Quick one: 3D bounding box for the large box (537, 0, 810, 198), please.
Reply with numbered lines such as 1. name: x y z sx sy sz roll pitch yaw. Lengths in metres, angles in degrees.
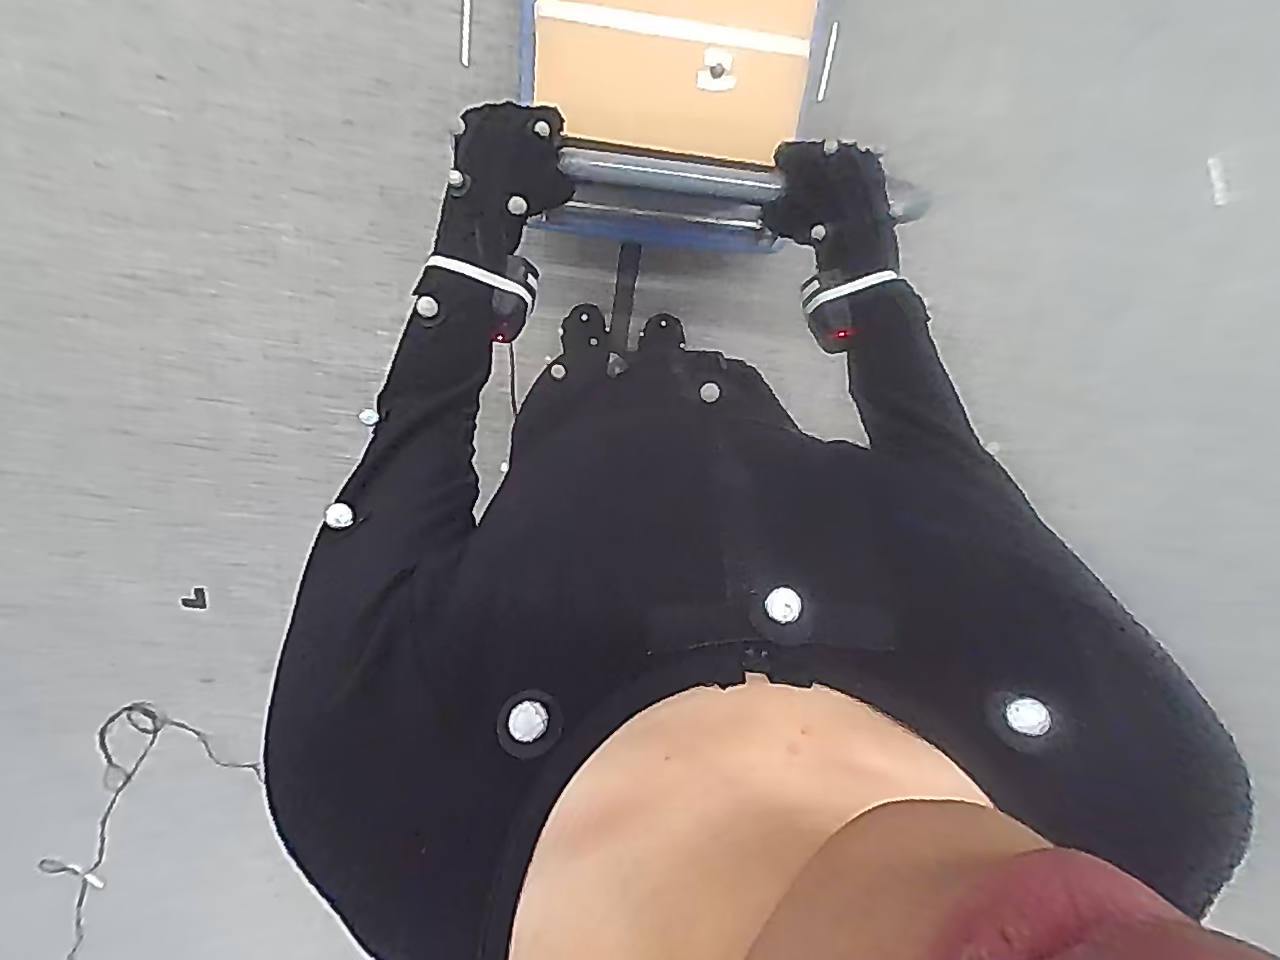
1. large box: 0.039 -0.711 0.948 0.408 0.320 0.320 5 108 -6
